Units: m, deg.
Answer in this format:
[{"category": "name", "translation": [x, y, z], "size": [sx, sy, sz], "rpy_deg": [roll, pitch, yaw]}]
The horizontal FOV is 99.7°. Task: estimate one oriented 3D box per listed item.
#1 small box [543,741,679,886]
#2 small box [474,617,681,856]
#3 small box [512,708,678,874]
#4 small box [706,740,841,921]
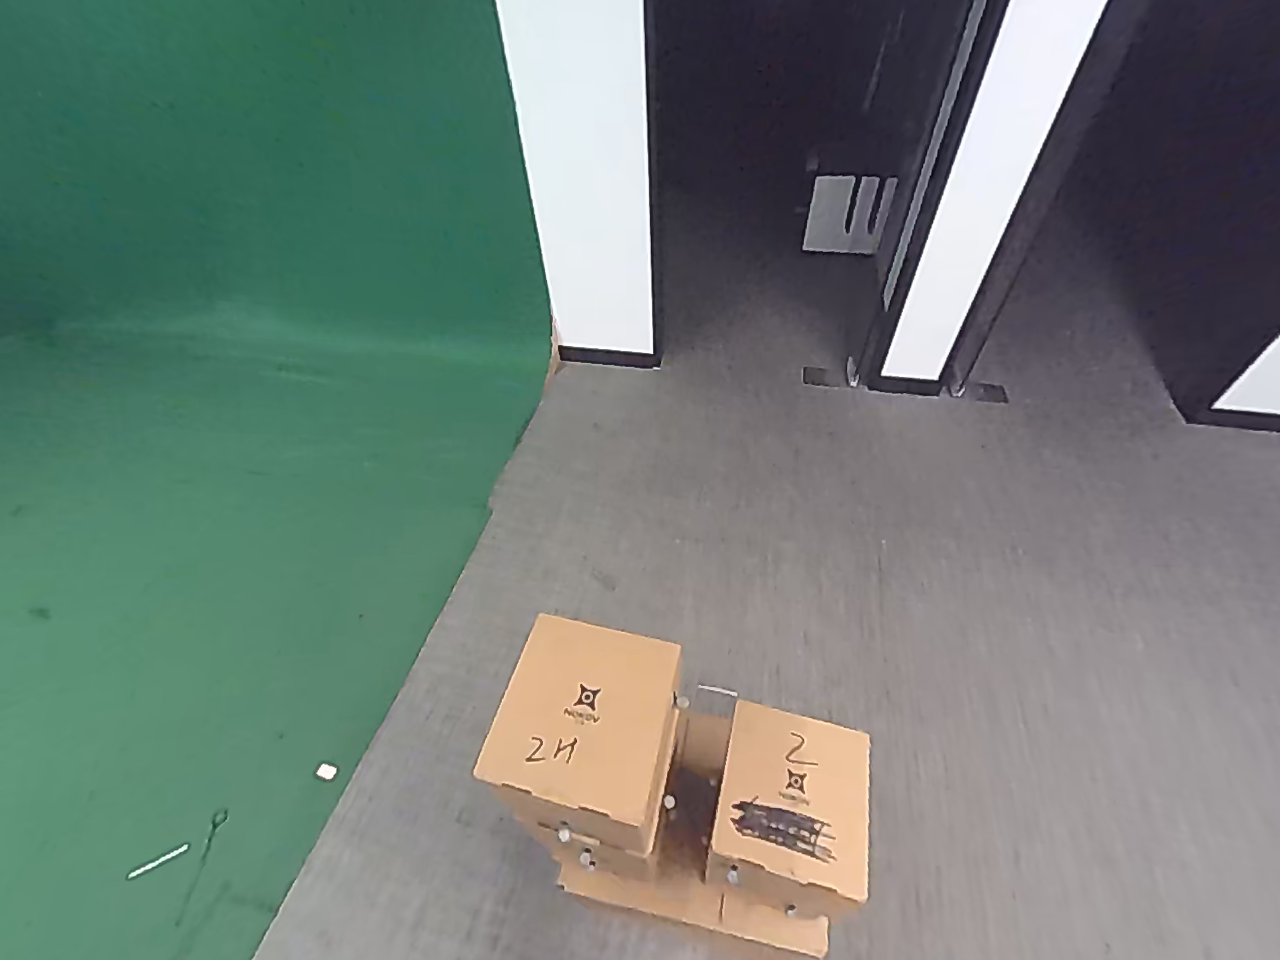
[{"category": "small box", "translation": [-0.038, 0.502, 0.844], "size": [0.168, 0.176, 0.179], "rpy_deg": [9, 50, 10]}, {"category": "small box", "translation": [-0.054, 0.284, 0.598], "size": [0.168, 0.176, 0.179], "rpy_deg": [10, 50, 11]}, {"category": "small box", "translation": [-0.046, 0.396, 0.719], "size": [0.168, 0.176, 0.179], "rpy_deg": [10, 51, 10]}, {"category": "small box", "translation": [0.196, 0.525, 0.807], "size": [0.168, 0.176, 0.179], "rpy_deg": [10, 48, 14]}]
